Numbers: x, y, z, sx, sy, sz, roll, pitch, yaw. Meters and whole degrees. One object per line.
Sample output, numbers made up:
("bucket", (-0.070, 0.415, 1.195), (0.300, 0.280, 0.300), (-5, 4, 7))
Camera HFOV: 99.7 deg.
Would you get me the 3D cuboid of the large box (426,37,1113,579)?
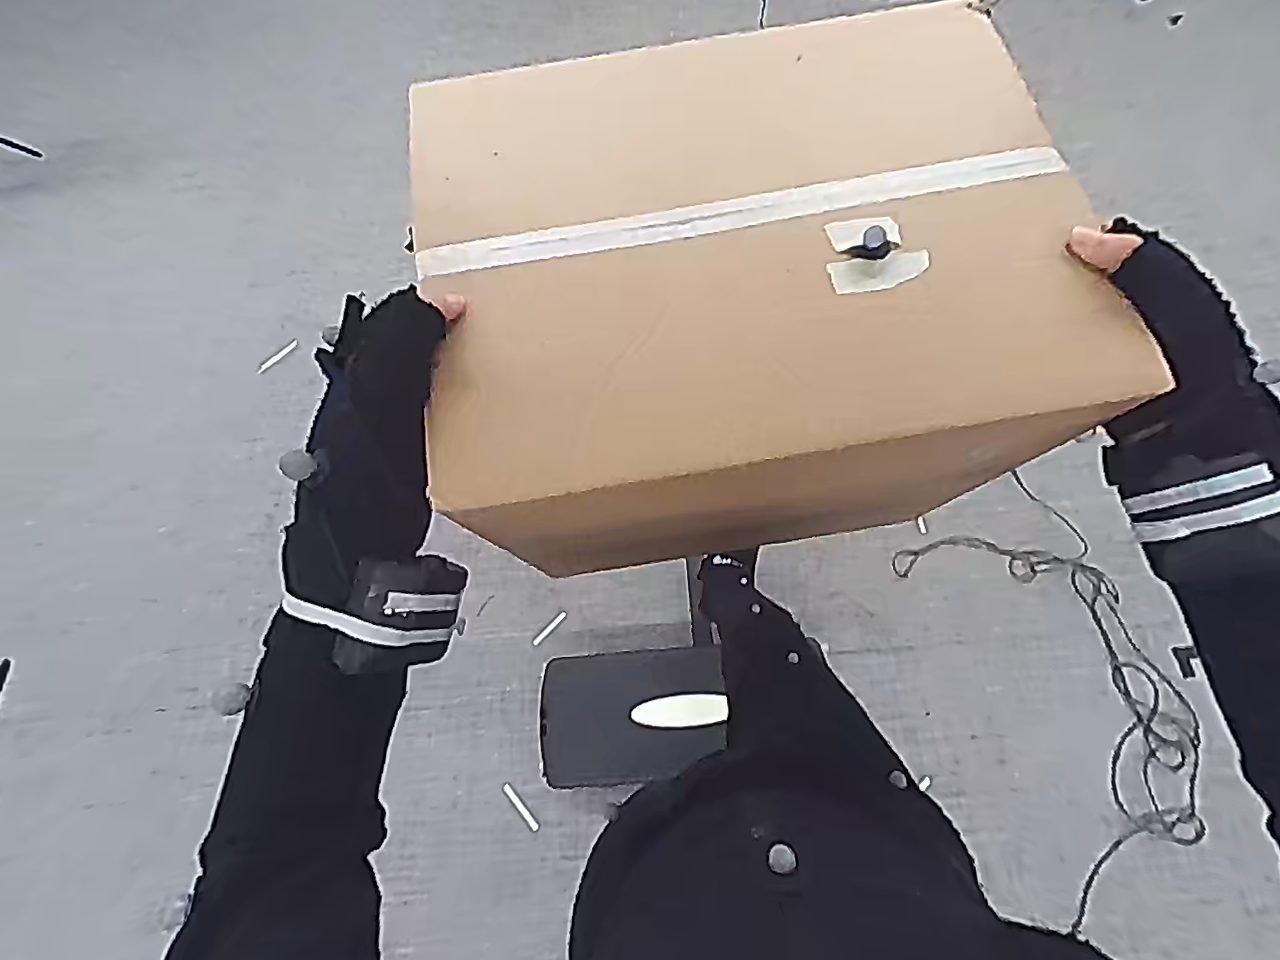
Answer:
("large box", (0.064, -0.114, 0.501), (0.408, 0.320, 0.320), (-10, 72, -1))
